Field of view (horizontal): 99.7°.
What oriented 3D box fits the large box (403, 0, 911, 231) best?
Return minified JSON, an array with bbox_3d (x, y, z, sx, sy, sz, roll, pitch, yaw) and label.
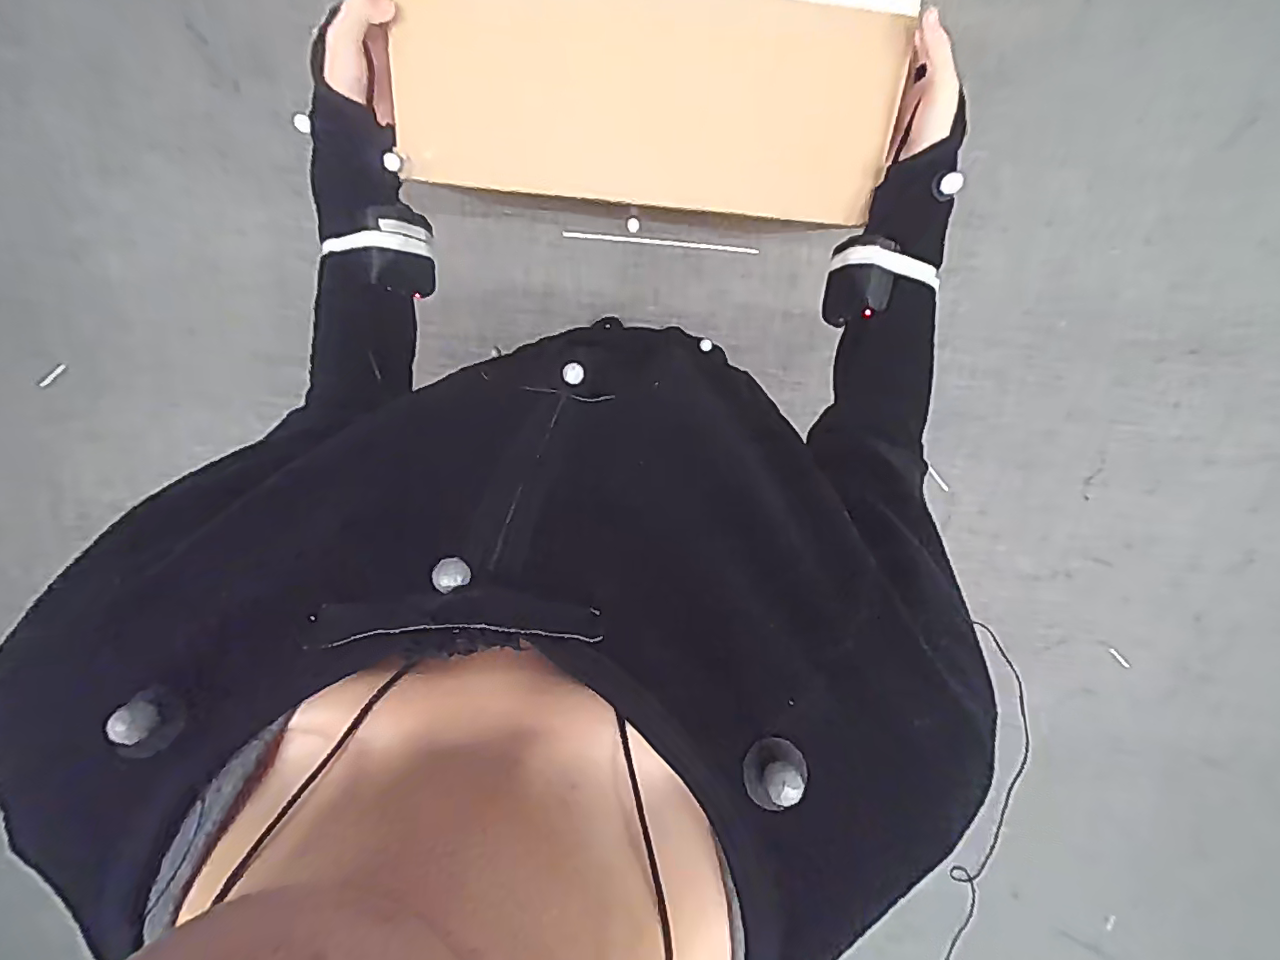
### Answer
[{"bbox_3d":[0.012,-0.438,0.555,0.408,0.320,0.320,3,112,-4],"label":"large box"}]
